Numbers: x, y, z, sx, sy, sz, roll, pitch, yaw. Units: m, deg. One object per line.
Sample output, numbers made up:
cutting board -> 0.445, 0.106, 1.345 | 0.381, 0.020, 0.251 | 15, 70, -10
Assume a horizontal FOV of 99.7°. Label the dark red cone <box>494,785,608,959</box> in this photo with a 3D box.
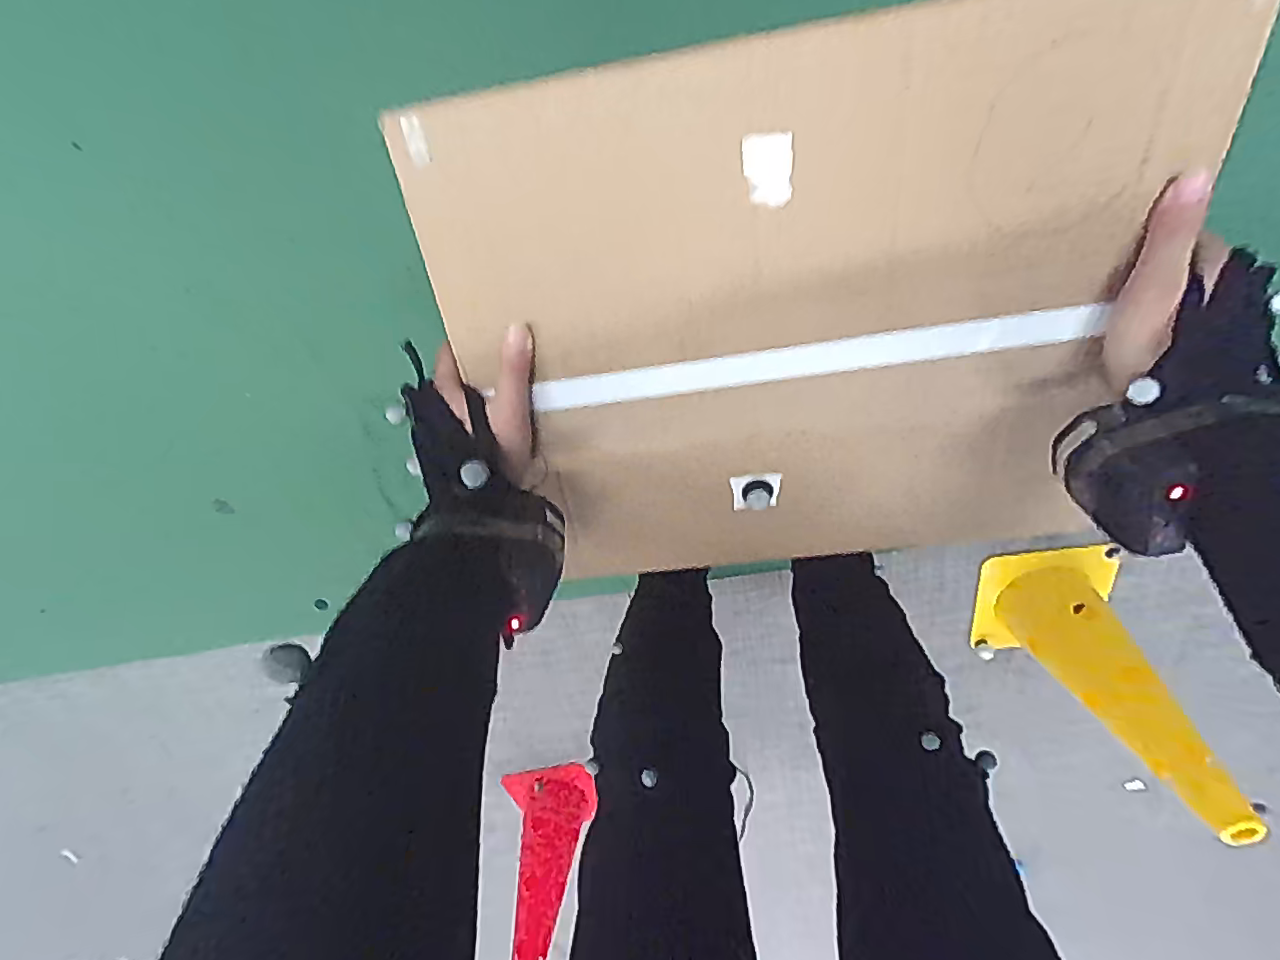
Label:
dark red cone -> -0.199, 0.791, 1.005 | 0.202, 0.394, 0.201 | -17, 113, 13
